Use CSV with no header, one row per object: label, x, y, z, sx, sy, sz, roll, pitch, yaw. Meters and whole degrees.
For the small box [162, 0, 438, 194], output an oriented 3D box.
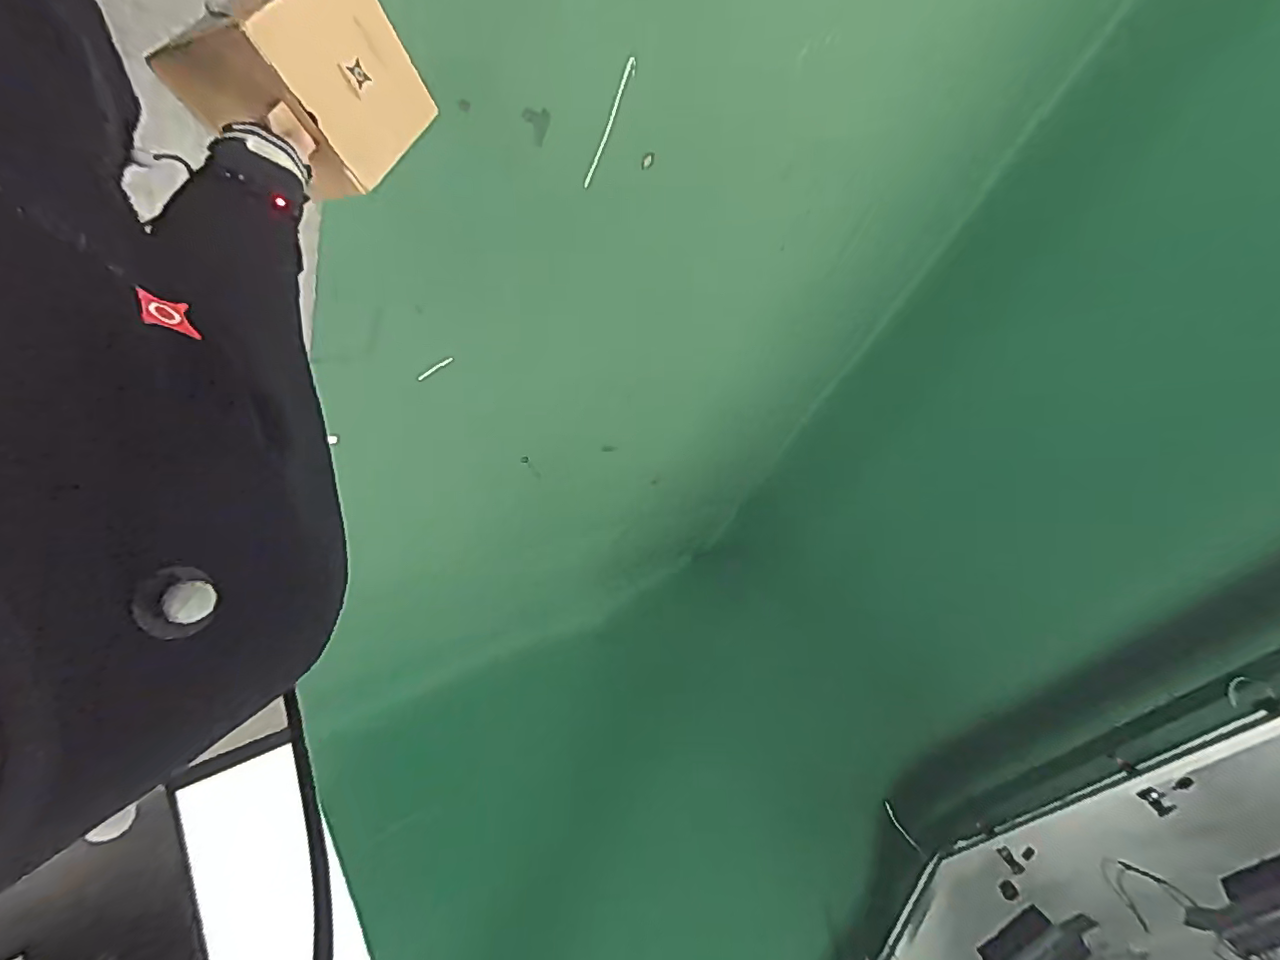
small box,-0.373,-0.448,0.605,0.168,0.176,0.179,61,42,-55
